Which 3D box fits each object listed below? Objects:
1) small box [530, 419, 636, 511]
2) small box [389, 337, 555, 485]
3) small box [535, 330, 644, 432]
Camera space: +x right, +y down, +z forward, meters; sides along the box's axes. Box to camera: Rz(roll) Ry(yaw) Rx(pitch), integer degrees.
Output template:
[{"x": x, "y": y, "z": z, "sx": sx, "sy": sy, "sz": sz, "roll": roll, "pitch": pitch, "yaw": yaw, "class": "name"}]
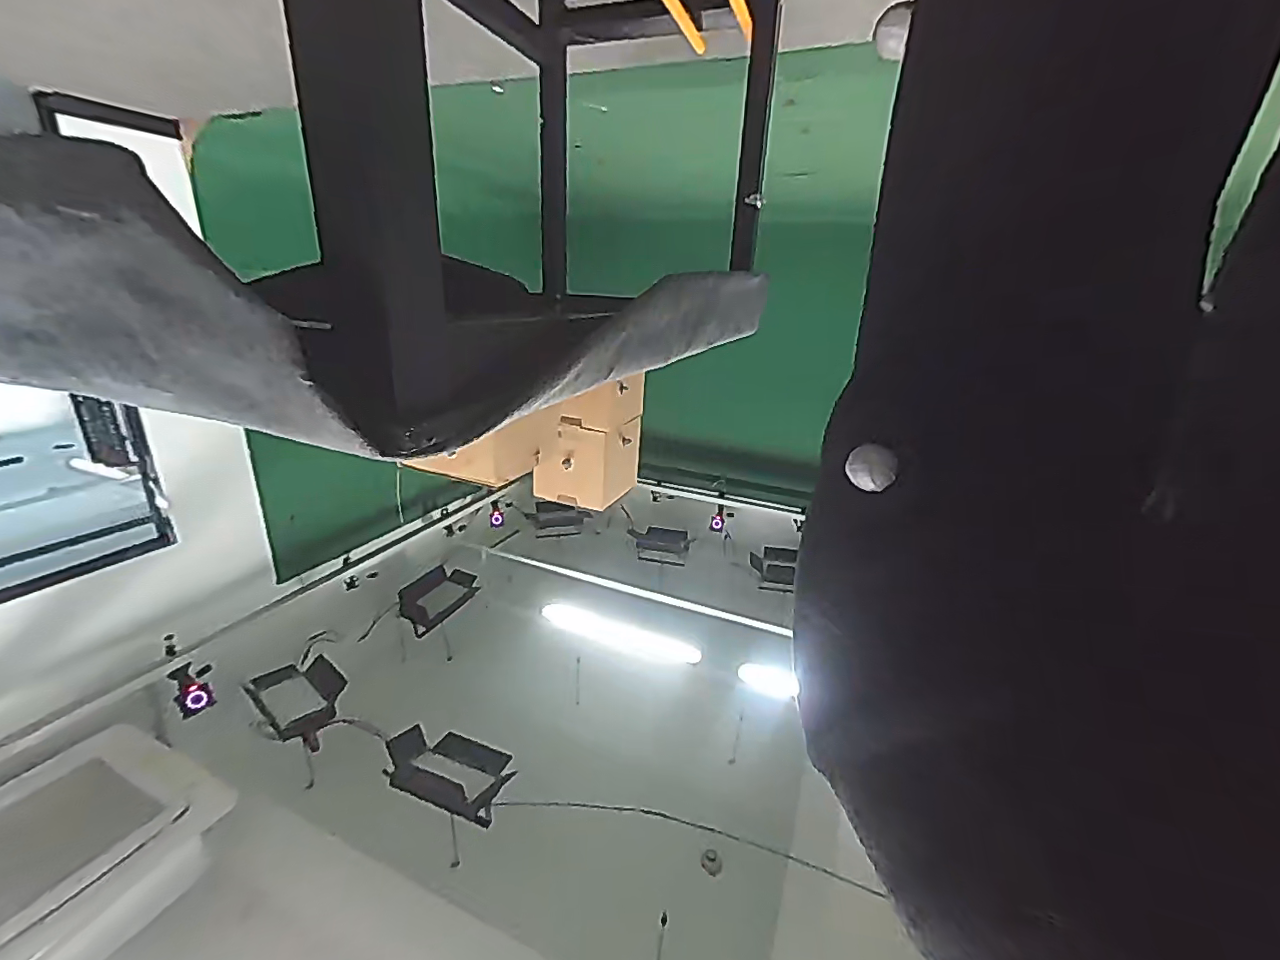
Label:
[{"x": -0.117, "y": -0.053, "z": 1.137, "sx": 0.168, "sy": 0.176, "sz": 0.179, "roll": 12, "pitch": -159, "yaw": 20, "class": "small box"}, {"x": -0.239, "y": -0.109, "z": 0.785, "sx": 0.179, "sy": 0.176, "sz": 0.168, "roll": 12, "pitch": -159, "yaw": 20, "class": "small box"}, {"x": -0.100, "y": -0.205, "z": 1.078, "sx": 0.168, "sy": 0.176, "sz": 0.179, "roll": 12, "pitch": -158, "yaw": 18, "class": "small box"}]
